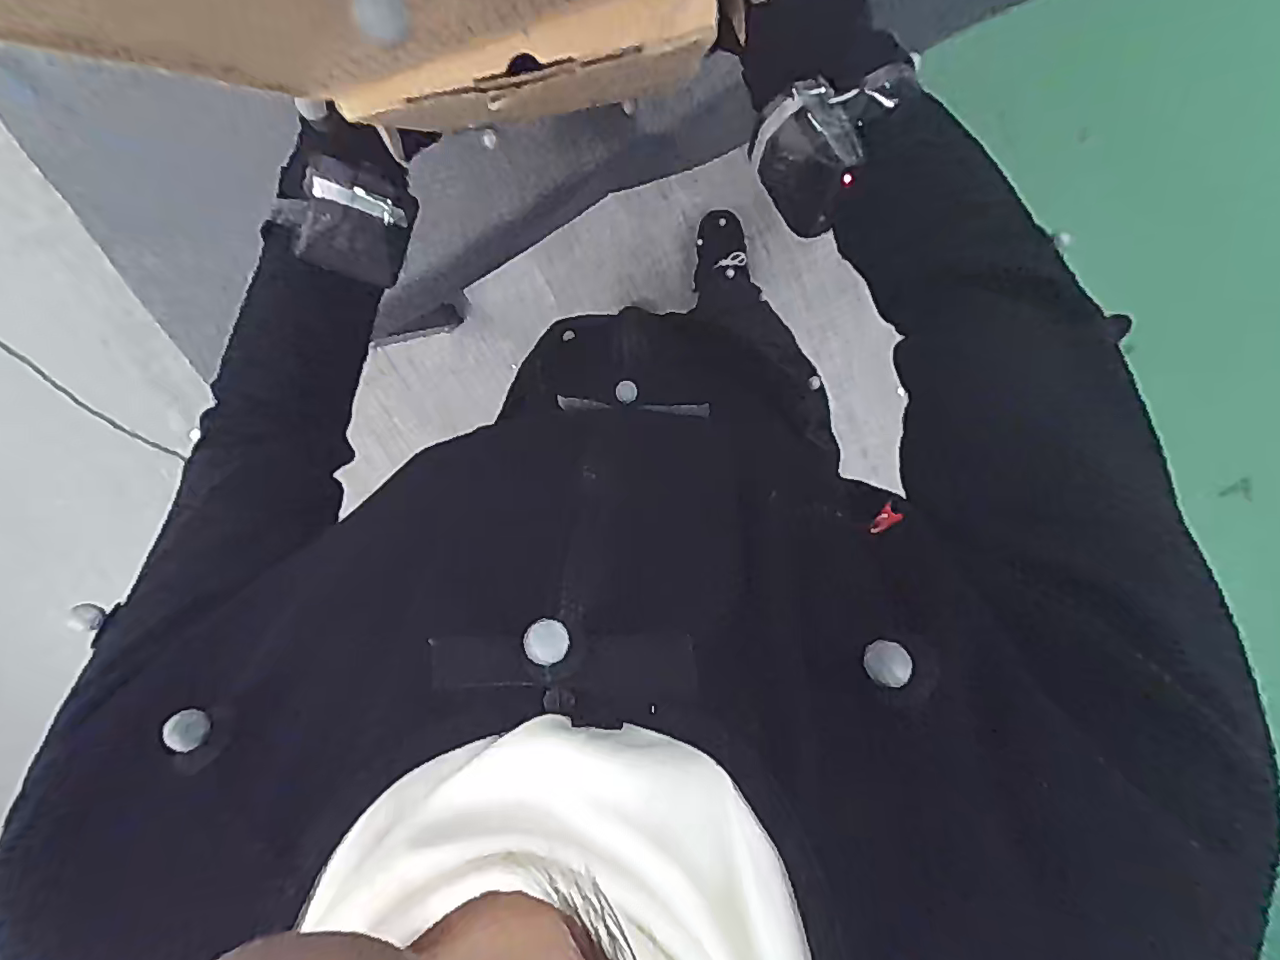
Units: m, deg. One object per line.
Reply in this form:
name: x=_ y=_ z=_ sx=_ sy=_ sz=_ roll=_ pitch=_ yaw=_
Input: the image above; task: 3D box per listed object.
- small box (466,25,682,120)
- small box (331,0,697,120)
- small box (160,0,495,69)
small box: x=-0.070 y=-0.381 z=0.396 sx=0.179 sy=0.176 sz=0.168 roll=-9 pitch=119 yaw=7
small box: x=-0.071 y=-0.294 z=0.258 sx=0.168 sy=0.176 sz=0.179 roll=-12 pitch=121 yaw=7
small box: x=-0.082 y=-0.223 z=0.113 sx=0.179 sy=0.176 sz=0.168 roll=-17 pitch=117 yaw=8
